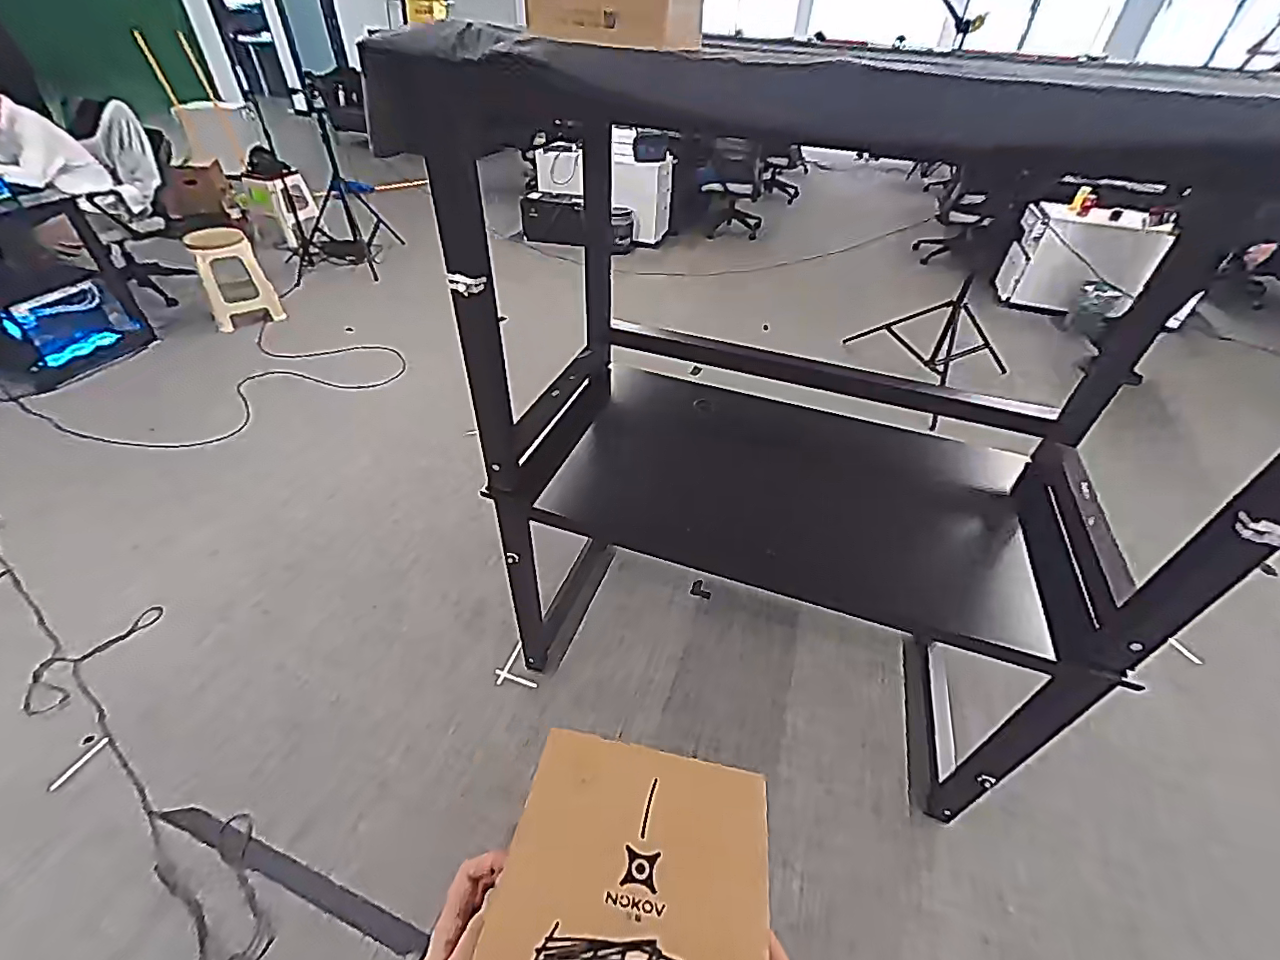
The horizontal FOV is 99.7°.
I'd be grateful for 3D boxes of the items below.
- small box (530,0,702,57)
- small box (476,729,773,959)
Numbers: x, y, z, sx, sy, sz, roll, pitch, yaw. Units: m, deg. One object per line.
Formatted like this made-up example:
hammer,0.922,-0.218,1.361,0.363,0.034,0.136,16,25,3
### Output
small box,-0.020,-0.594,0.616,0.168,0.176,0.179,15,40,12
small box,-0.008,0.315,0.376,0.168,0.176,0.179,11,33,5
